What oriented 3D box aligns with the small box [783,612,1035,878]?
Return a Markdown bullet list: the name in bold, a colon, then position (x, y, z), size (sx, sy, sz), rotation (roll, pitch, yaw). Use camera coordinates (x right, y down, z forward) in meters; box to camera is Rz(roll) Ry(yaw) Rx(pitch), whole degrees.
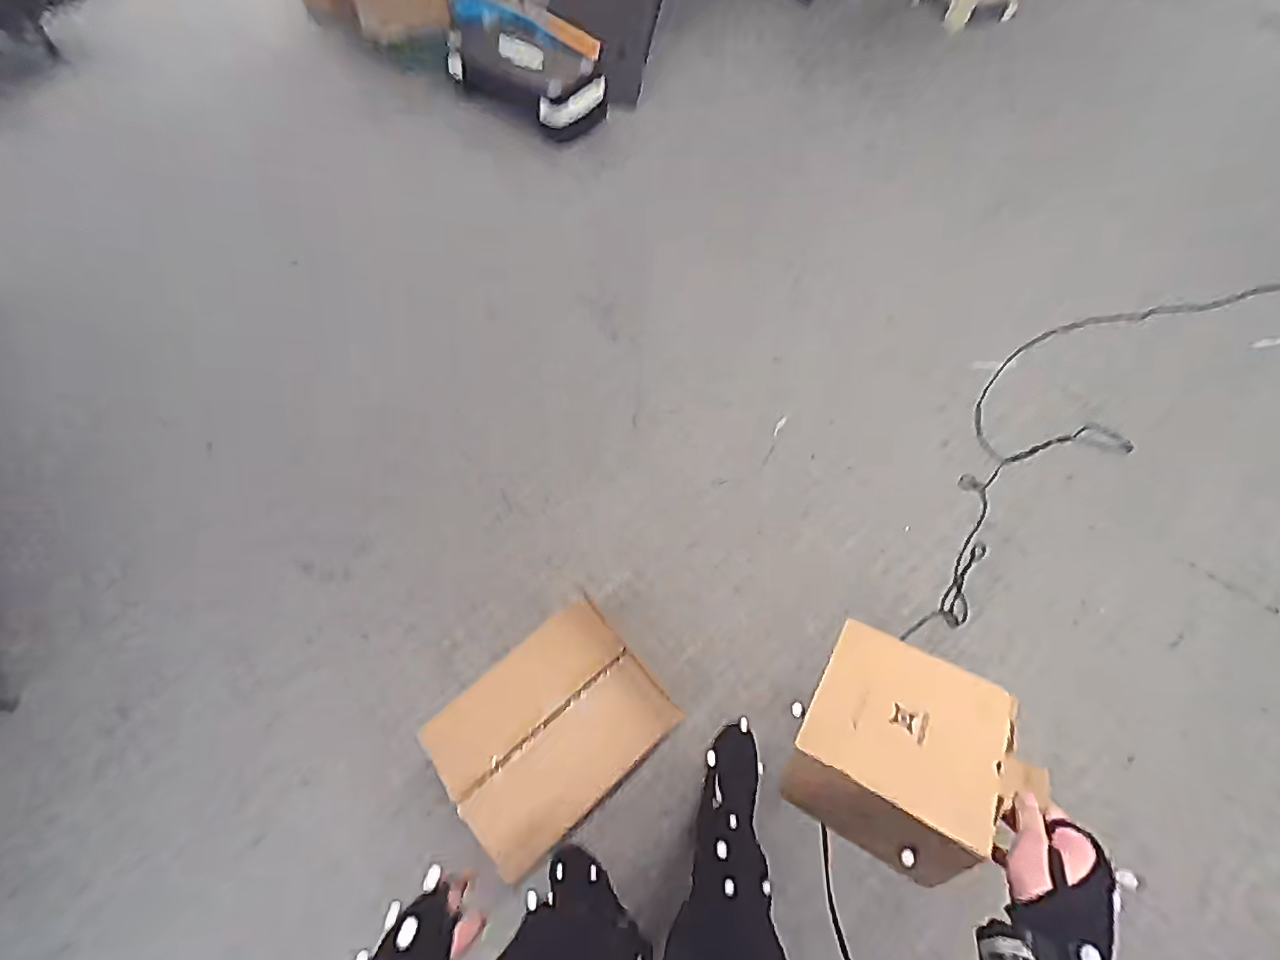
- **small box**: position (0.274, 0.283, 0.578), size (0.179, 0.176, 0.168), rotation (25, 50, 27)
